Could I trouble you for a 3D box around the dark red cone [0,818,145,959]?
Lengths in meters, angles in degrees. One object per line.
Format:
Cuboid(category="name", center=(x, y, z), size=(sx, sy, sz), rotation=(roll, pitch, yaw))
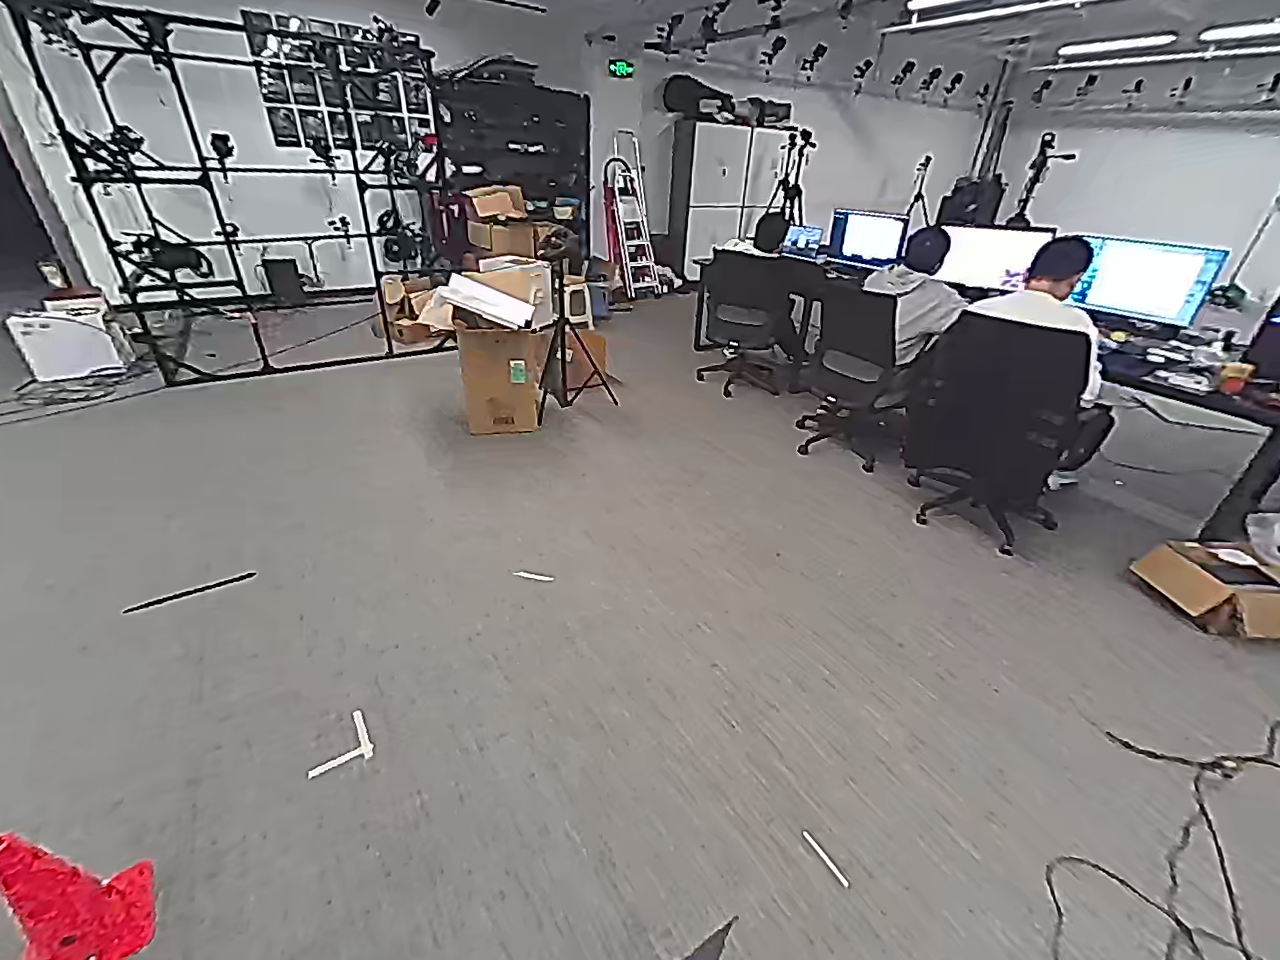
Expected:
Cuboid(category="dark red cone", center=(-1.136, 0.761, 1.021), size=(0.202, 0.394, 0.201), rotation=(-21, 39, -34))
